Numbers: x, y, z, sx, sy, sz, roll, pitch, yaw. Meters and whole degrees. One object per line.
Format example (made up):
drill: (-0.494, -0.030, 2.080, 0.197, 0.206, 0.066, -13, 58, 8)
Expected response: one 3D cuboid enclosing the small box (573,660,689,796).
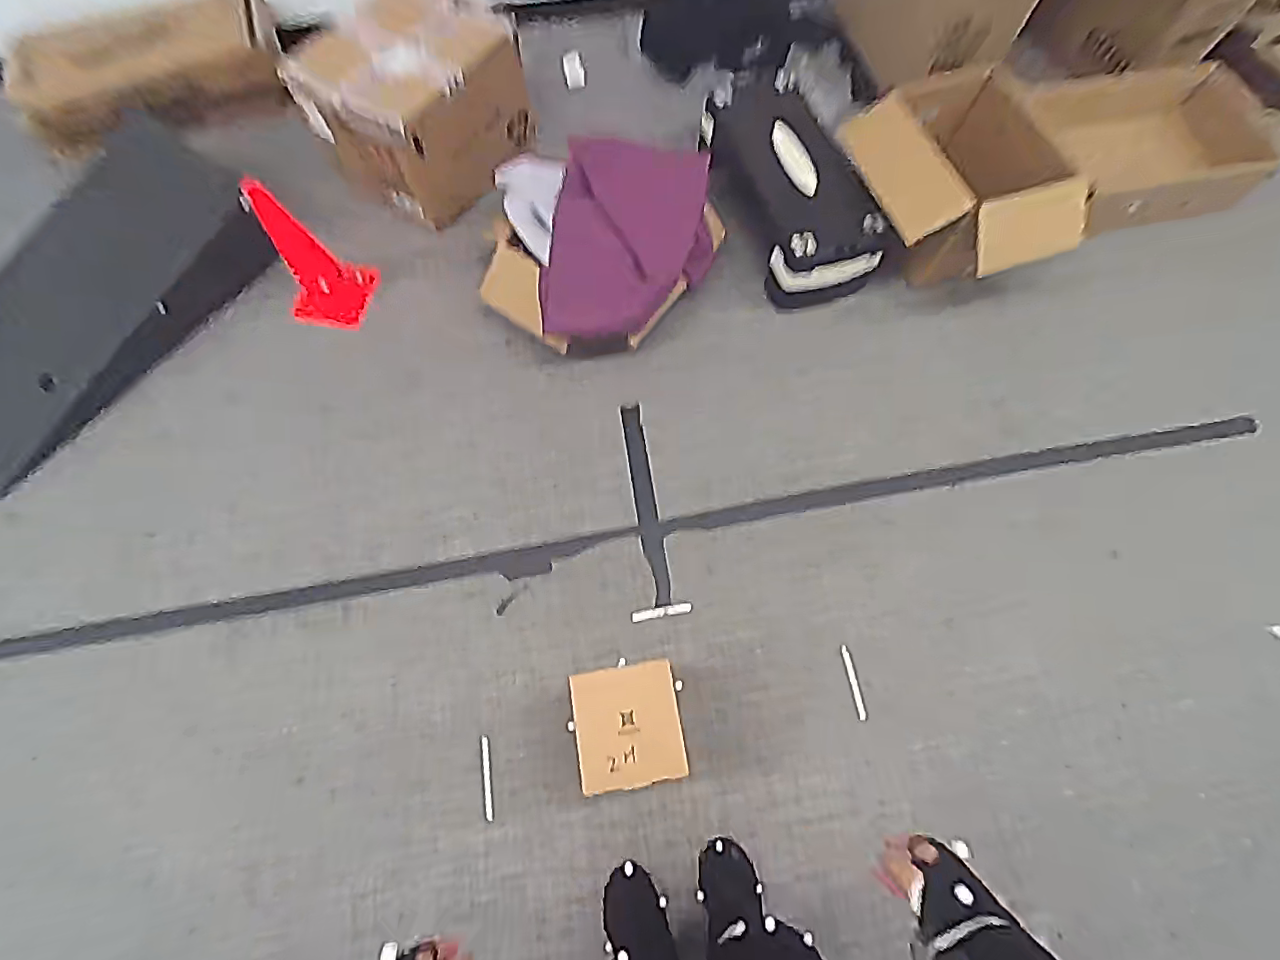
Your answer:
small box: (-0.019, 0.413, 0.920, 0.168, 0.176, 0.179, -9, 70, -3)
